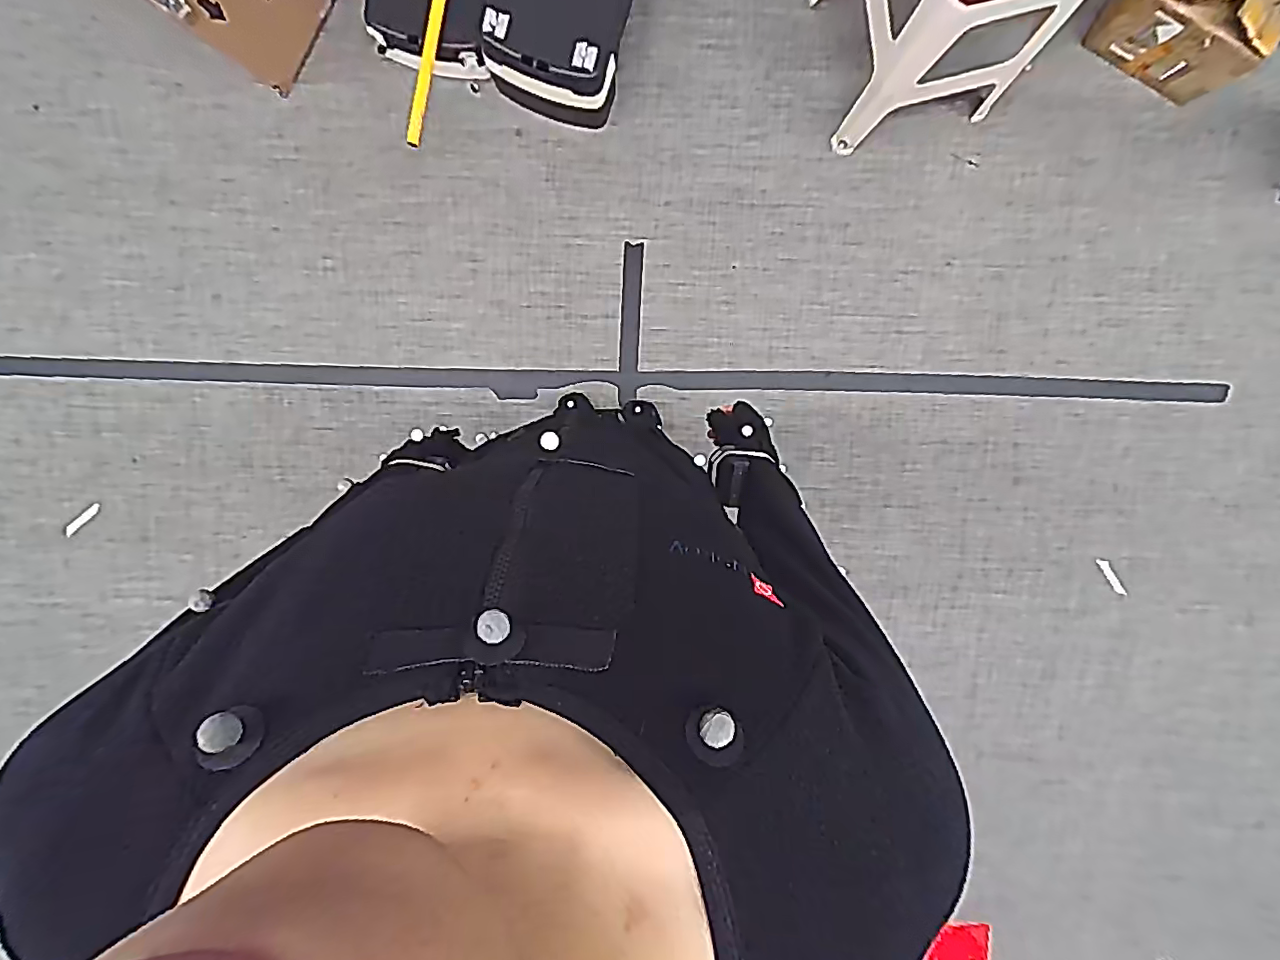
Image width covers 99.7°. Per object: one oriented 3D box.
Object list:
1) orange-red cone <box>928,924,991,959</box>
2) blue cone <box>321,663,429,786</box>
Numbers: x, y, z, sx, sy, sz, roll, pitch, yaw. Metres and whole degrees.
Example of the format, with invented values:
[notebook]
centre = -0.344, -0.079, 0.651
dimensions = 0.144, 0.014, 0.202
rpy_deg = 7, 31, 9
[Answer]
[orange-red cone]
centre = 1.022, 1.532, 1.562
dimensions = 0.198, 0.360, 0.199
rpy_deg = -2, 99, 0
[blue cone]
centre = -0.724, 0.658, 1.421
dimensions = 0.192, 0.380, 0.193
rpy_deg = -3, 100, 1
